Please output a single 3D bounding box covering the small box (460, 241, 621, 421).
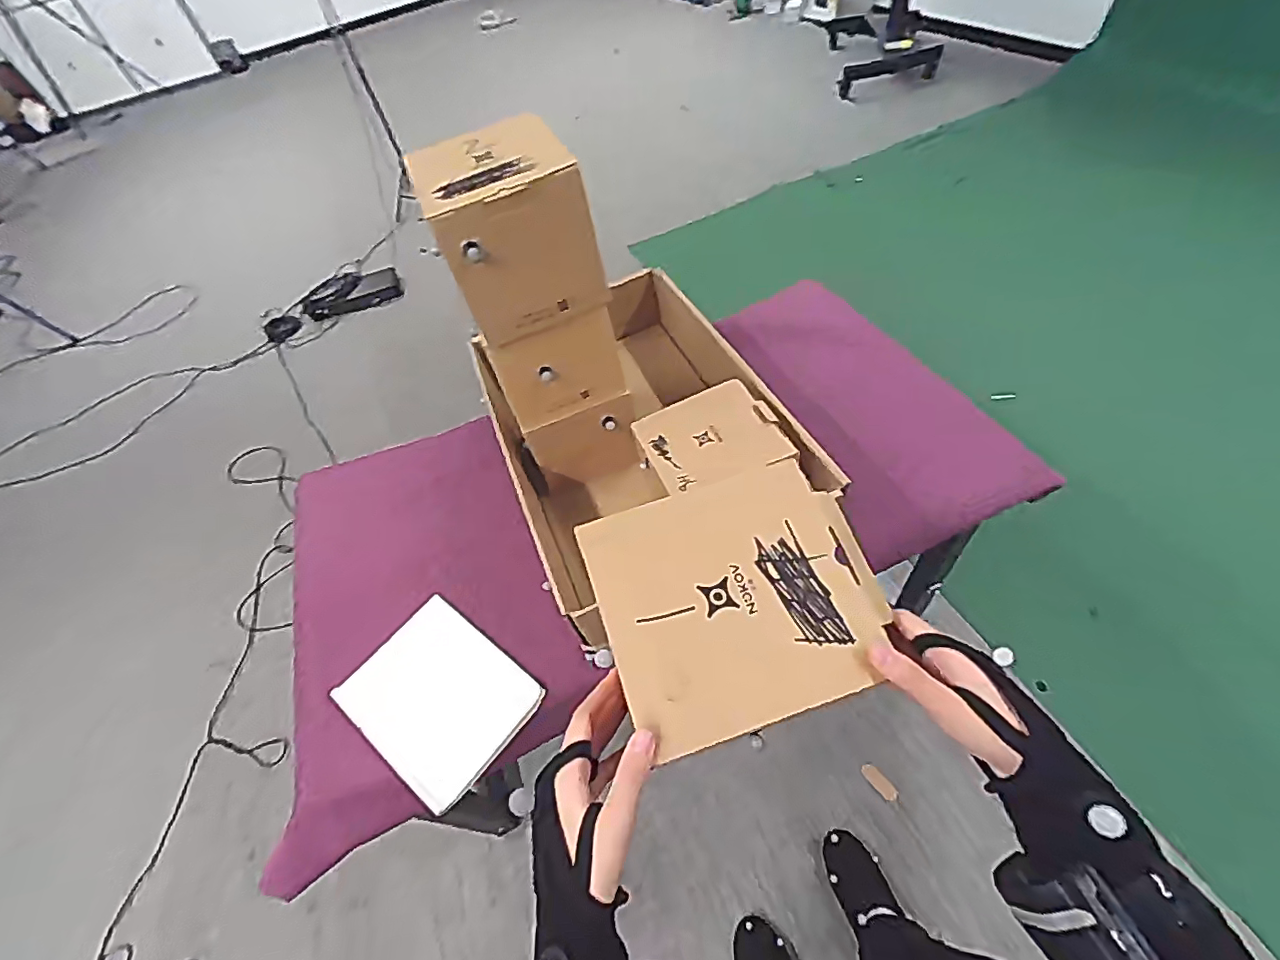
[{"bbox_3d":[-0.140,-0.208,0.792,0.168,0.176,0.179,-23,53,-6],"label":"small box"}]

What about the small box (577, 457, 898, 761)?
[{"bbox_3d":[0.060,0.109,0.435,0.179,0.176,0.168,-17,64,-6],"label":"small box"}]
